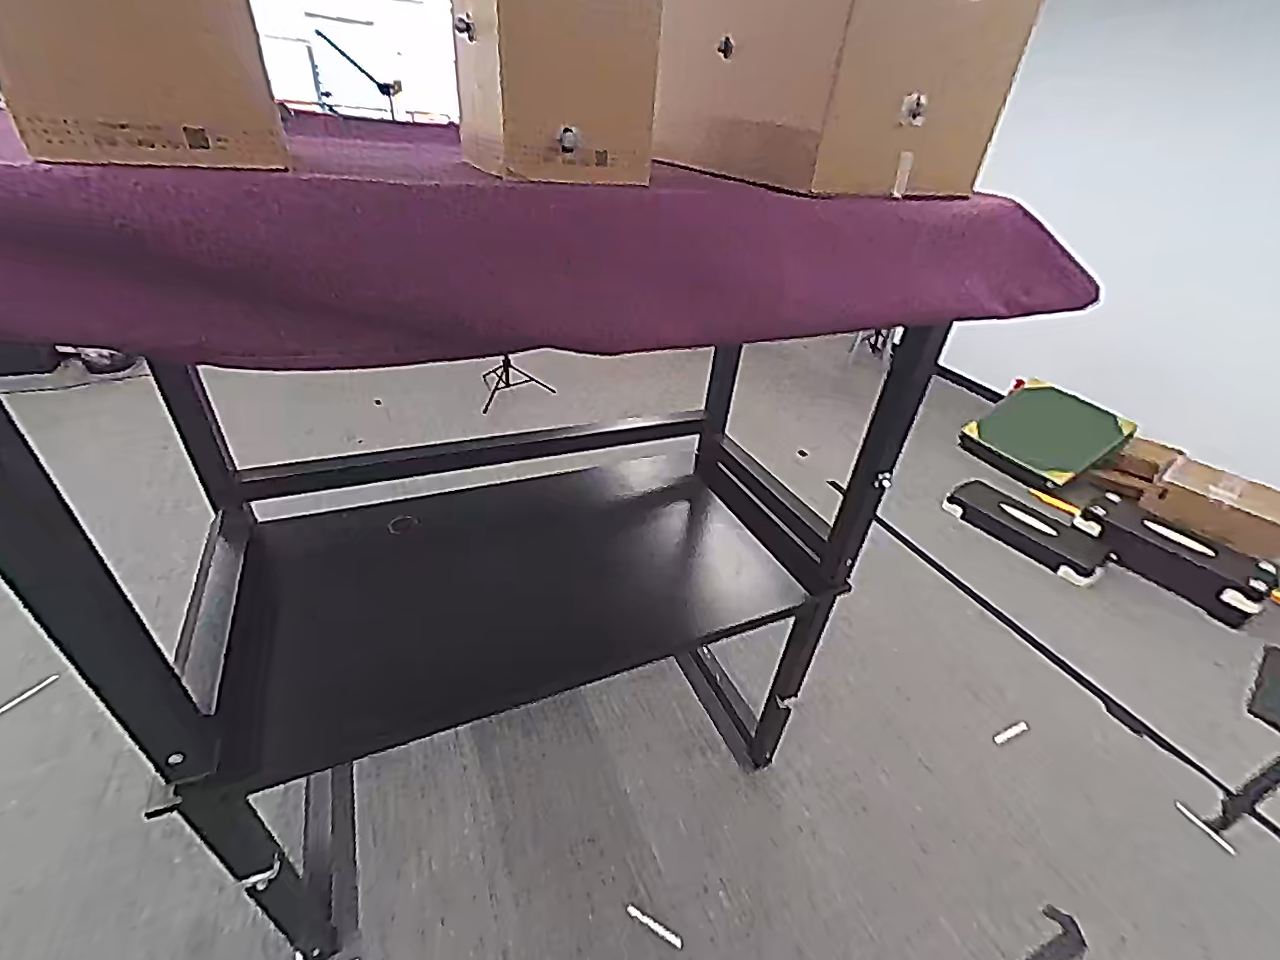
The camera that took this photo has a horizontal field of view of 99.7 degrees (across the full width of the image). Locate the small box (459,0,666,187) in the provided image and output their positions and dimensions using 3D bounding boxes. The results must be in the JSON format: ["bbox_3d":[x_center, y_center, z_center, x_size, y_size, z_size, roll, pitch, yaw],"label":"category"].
[{"bbox_3d":[-0.091,-0.424,0.581,0.168,0.176,0.179,-13,39,-25],"label":"small box"}]

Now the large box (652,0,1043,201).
[{"bbox_3d":[0.249,-0.582,0.745,0.320,0.320,0.408,-13,37,-25],"label":"large box"}]

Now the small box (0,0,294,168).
[{"bbox_3d":[-0.403,-0.364,0.441,0.168,0.176,0.179,-16,39,-29],"label":"small box"}]
